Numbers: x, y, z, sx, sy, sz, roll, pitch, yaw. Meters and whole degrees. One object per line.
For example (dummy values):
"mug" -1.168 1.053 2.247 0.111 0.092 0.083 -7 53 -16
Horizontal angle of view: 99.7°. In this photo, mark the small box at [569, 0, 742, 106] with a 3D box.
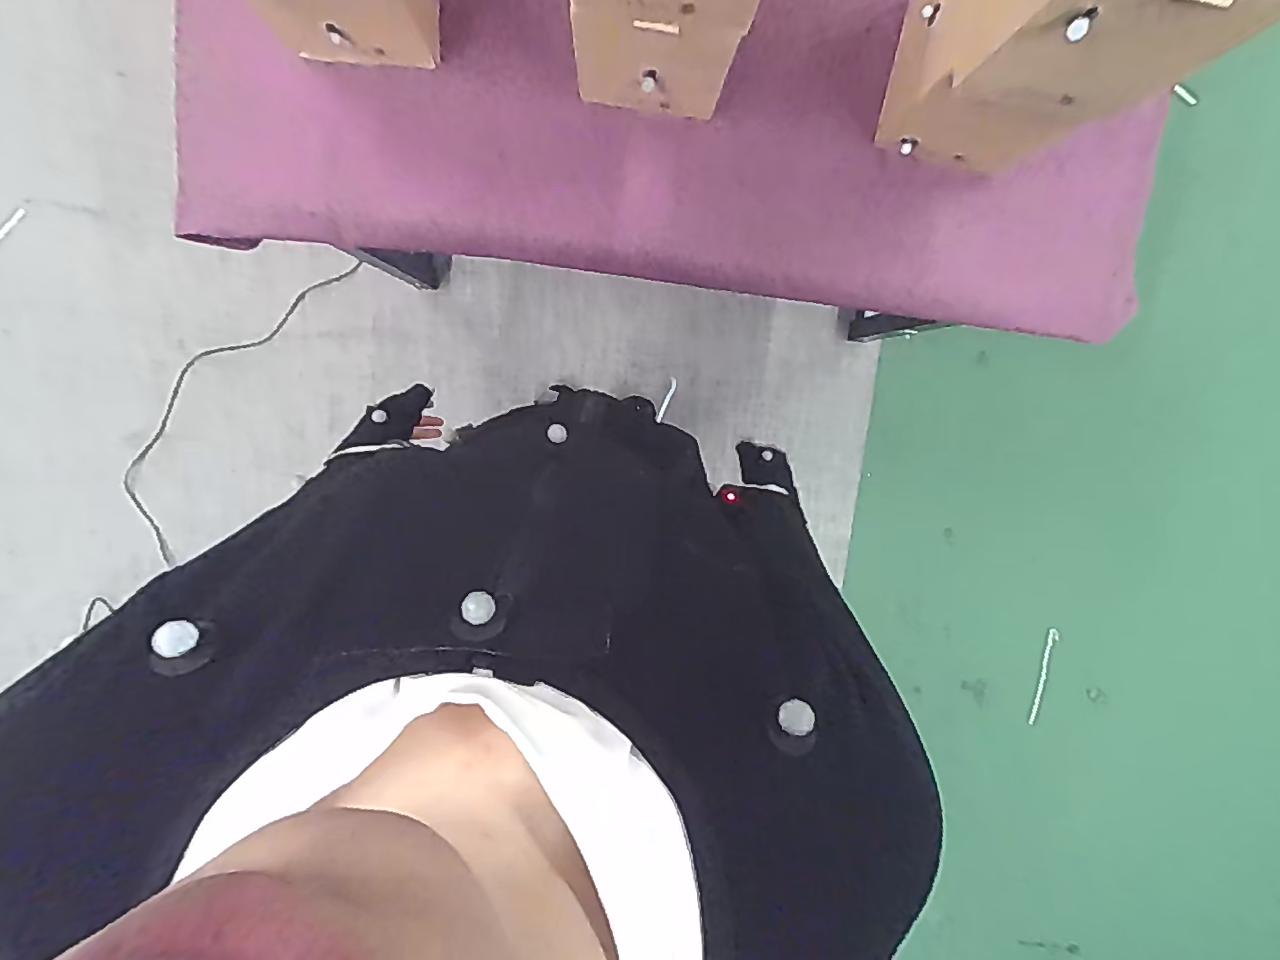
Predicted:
"small box" 0.020 -0.532 0.570 0.168 0.176 0.179 4 100 -2

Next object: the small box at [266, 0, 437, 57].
"small box" -0.313 -0.576 0.543 0.168 0.176 0.179 2 101 -4

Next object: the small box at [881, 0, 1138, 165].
"small box" 0.395 -0.482 0.596 0.168 0.176 0.179 11 99 -5

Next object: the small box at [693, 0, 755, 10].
"small box" 0.036 -0.496 0.392 0.168 0.176 0.179 6 100 -4
